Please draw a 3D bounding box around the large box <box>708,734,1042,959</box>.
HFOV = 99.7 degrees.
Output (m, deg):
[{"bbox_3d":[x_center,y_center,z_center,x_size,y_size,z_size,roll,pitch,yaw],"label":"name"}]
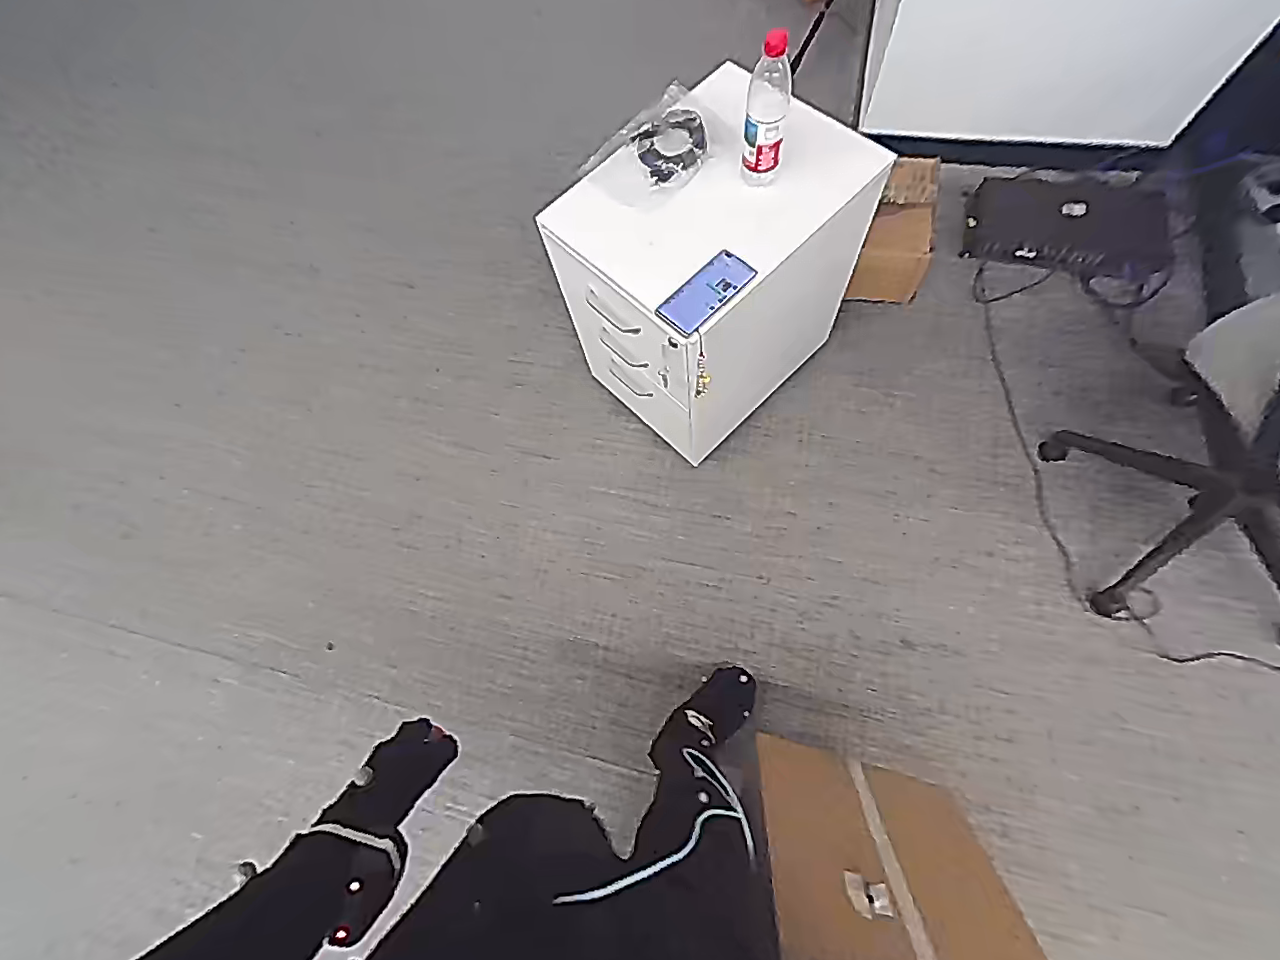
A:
[{"bbox_3d":[0.276,0.628,0.710,0.320,0.408,0.320,14,100,6],"label":"large box"}]
